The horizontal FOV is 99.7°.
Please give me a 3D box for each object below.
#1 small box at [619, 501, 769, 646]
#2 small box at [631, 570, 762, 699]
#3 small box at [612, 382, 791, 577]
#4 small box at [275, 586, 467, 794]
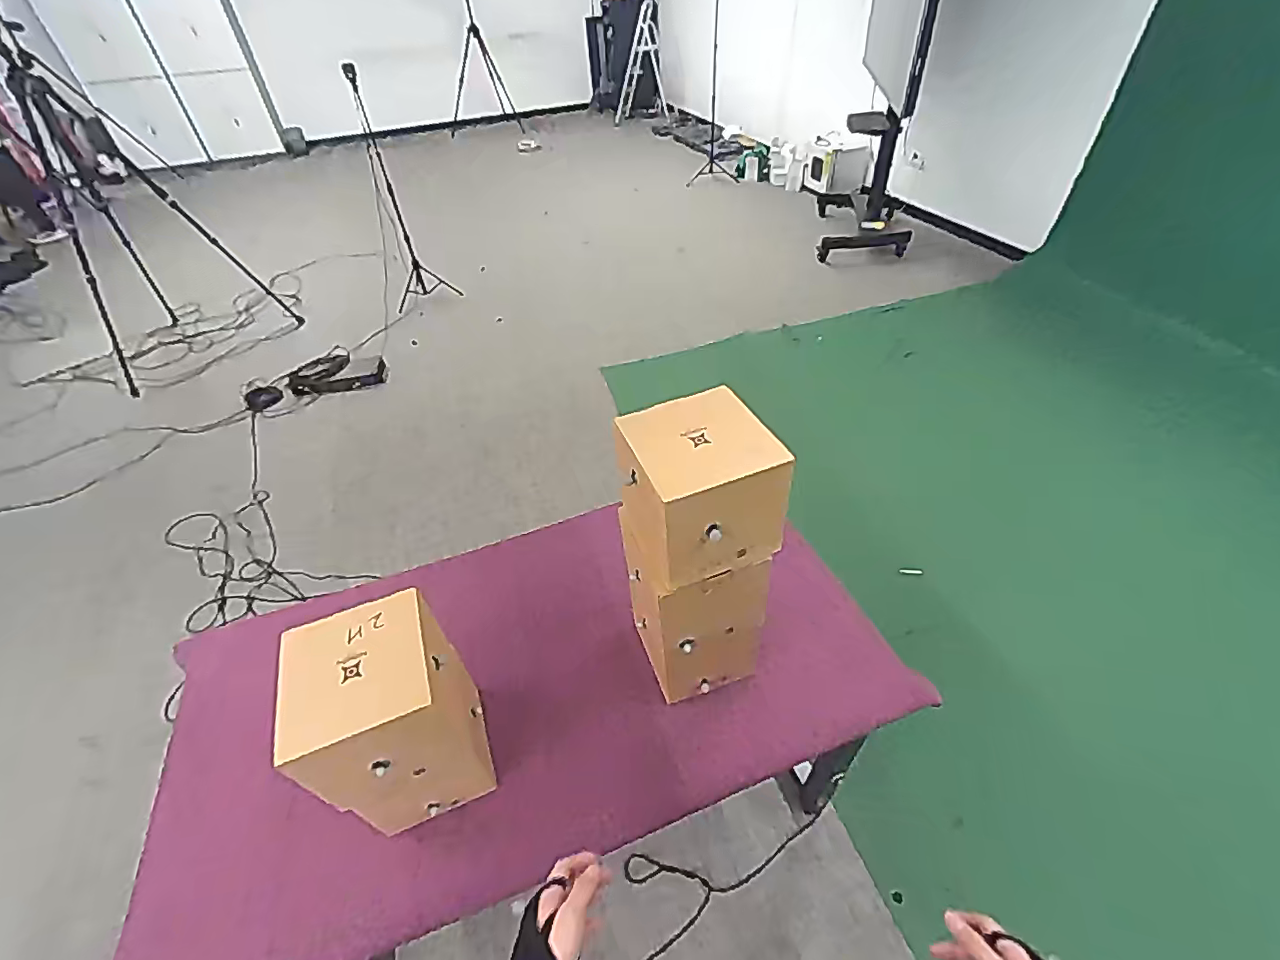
[{"bbox_3d":[0.079,0.125,0.815,0.168,0.176,0.179,-17,43,-10],"label":"small box"},{"bbox_3d":[0.091,0.241,0.930,0.168,0.176,0.179,-17,45,-10],"label":"small box"},{"bbox_3d":[0.077,0.004,0.706,0.168,0.176,0.179,-19,43,-11],"label":"small box"},{"bbox_3d":[-0.334,0.275,0.696,0.168,0.176,0.179,-18,46,-14],"label":"small box"}]
